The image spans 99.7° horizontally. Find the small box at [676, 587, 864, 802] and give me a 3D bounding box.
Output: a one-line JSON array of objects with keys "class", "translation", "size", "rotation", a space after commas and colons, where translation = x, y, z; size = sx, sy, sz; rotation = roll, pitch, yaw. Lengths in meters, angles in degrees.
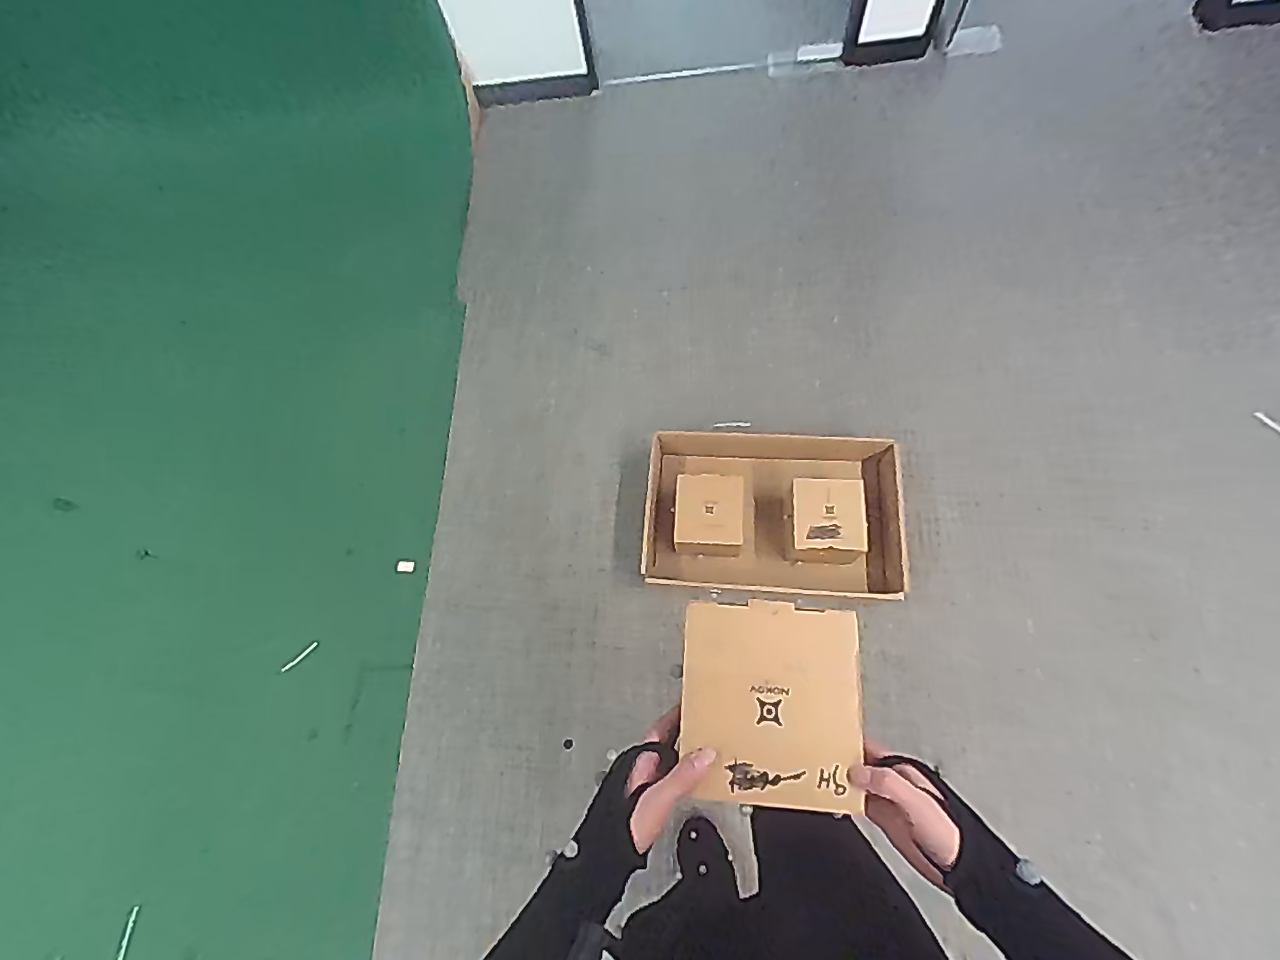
[{"class": "small box", "translation": [0.126, 0.215, 0.576], "size": [0.168, 0.176, 0.179], "rotation": [3, 74, 5]}]

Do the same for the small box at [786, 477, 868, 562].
[{"class": "small box", "translation": [0.456, 0.103, 1.338], "size": [0.168, 0.176, 0.179], "rotation": [2, 70, 8]}]
